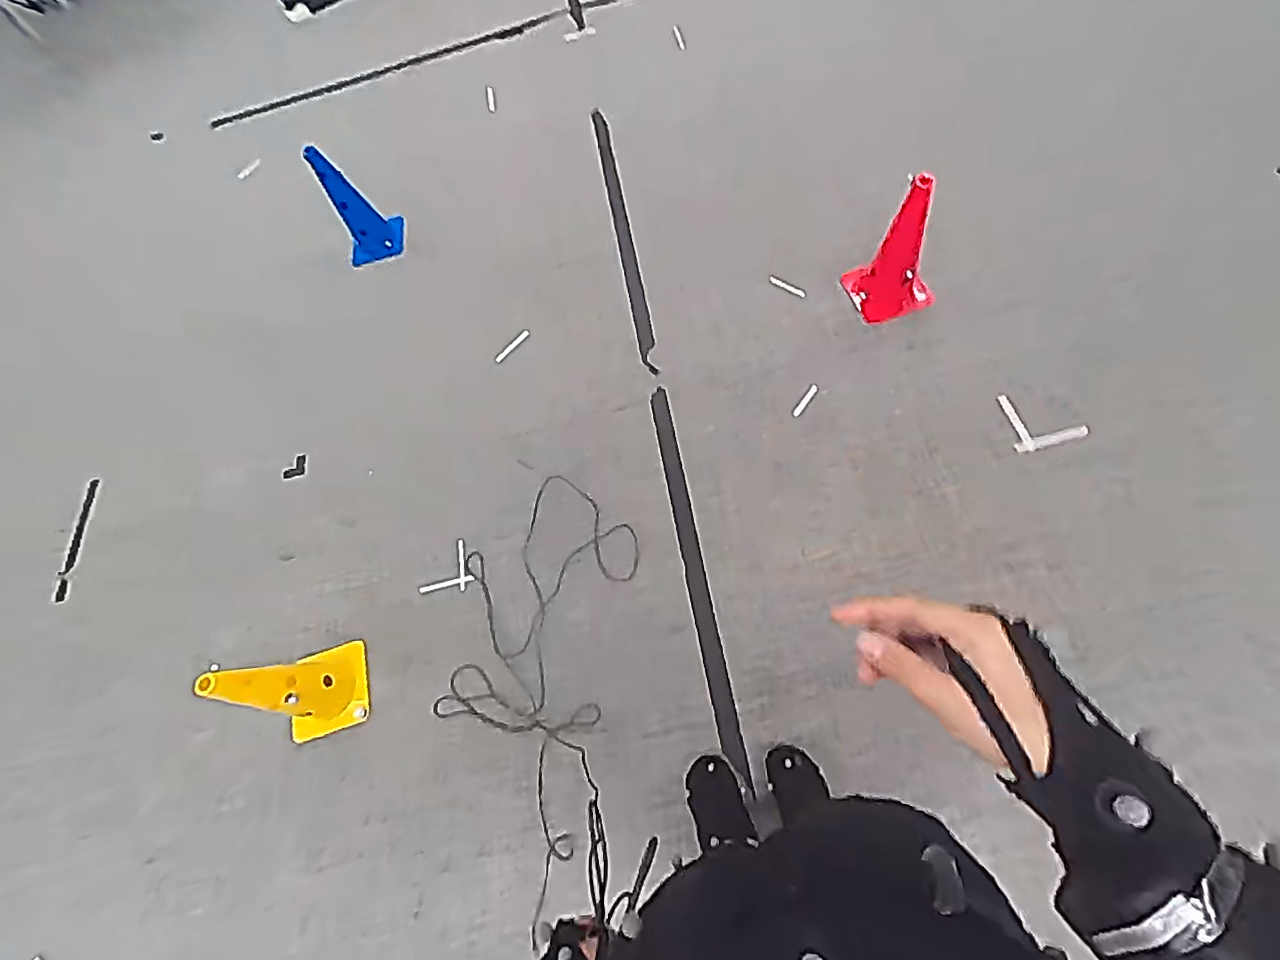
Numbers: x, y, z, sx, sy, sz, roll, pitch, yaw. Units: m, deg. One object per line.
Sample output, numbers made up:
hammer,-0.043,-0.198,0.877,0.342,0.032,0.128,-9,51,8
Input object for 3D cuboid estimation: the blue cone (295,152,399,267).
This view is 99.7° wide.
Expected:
blue cone,-0.999,-0.927,1.825,0.192,0.380,0.193,-13,65,6

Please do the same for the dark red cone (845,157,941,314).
dark red cone,0.671,-0.623,1.357,0.201,0.394,0.202,-20,65,2
